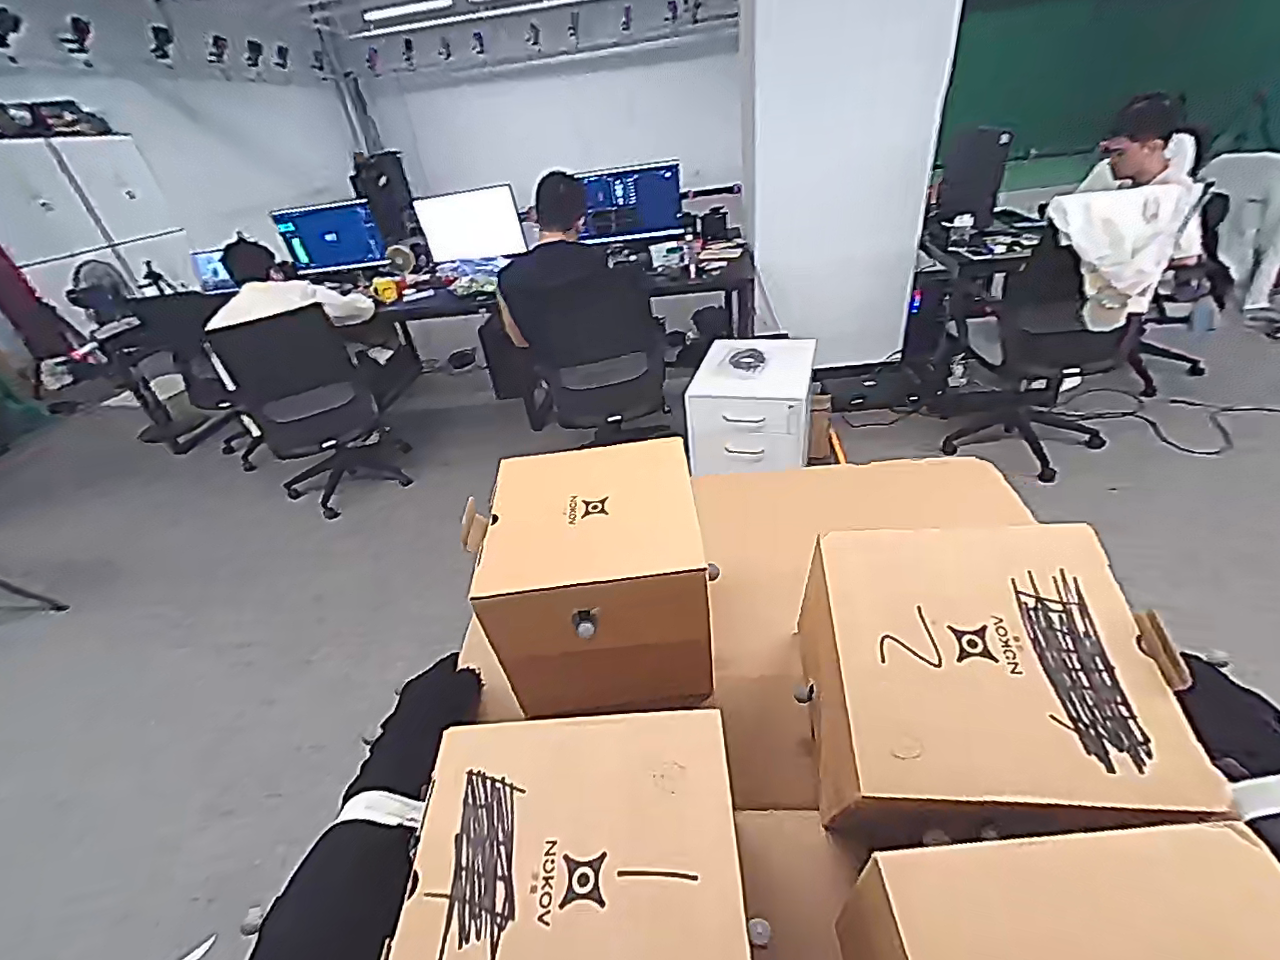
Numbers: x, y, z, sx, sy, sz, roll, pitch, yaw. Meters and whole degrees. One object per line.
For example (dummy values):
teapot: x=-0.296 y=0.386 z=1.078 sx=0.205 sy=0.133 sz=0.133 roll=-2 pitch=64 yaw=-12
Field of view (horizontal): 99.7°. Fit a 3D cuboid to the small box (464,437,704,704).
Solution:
small box: x=-0.037 y=0.085 z=0.502 sx=0.179 sy=0.176 sz=0.168 roll=-9 pitch=39 yaw=3
